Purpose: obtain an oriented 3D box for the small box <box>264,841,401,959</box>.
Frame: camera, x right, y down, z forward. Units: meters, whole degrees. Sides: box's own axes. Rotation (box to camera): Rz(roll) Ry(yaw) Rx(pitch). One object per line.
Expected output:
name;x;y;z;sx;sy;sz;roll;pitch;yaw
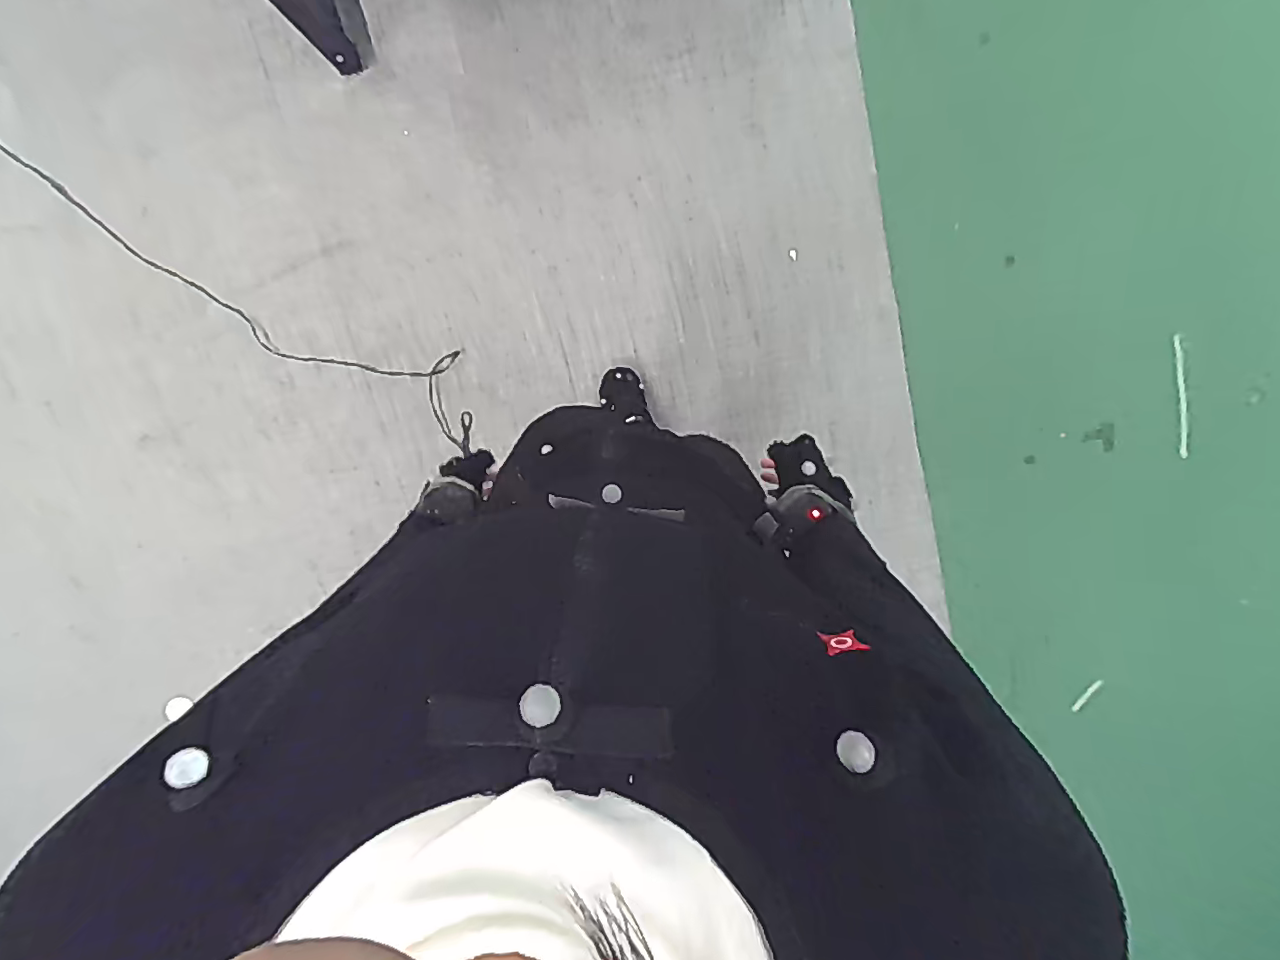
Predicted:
small box;-0.681;0.961;1.214;0.179;0.176;0.168;31;99;-5
